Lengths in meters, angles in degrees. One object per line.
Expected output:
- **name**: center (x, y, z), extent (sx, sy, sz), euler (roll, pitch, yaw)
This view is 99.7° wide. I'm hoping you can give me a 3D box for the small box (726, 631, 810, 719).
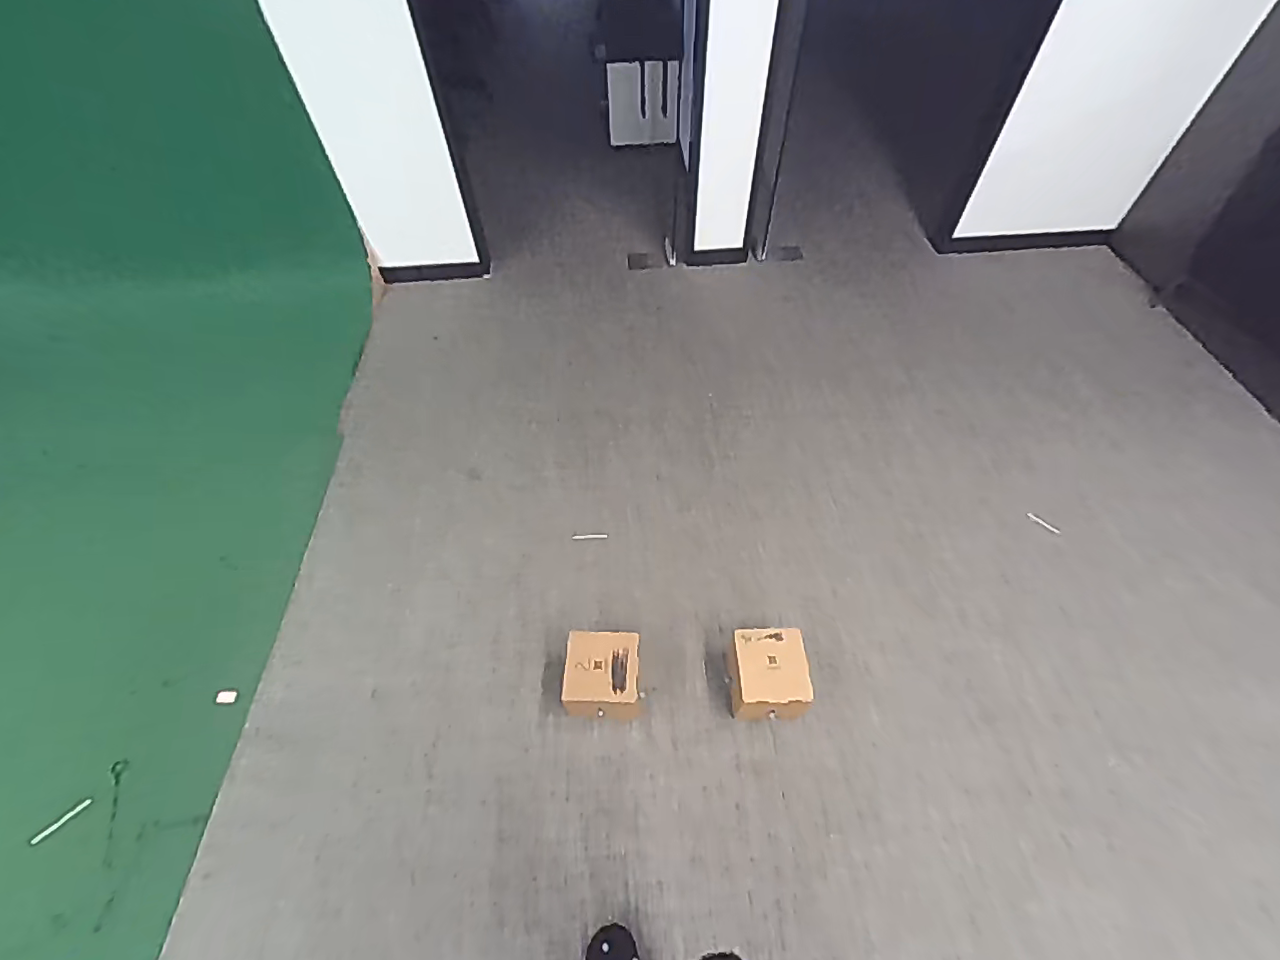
- **small box**: center (0.310, 0.491, 1.347), extent (0.168, 0.176, 0.179), euler (-1, 54, 0)
